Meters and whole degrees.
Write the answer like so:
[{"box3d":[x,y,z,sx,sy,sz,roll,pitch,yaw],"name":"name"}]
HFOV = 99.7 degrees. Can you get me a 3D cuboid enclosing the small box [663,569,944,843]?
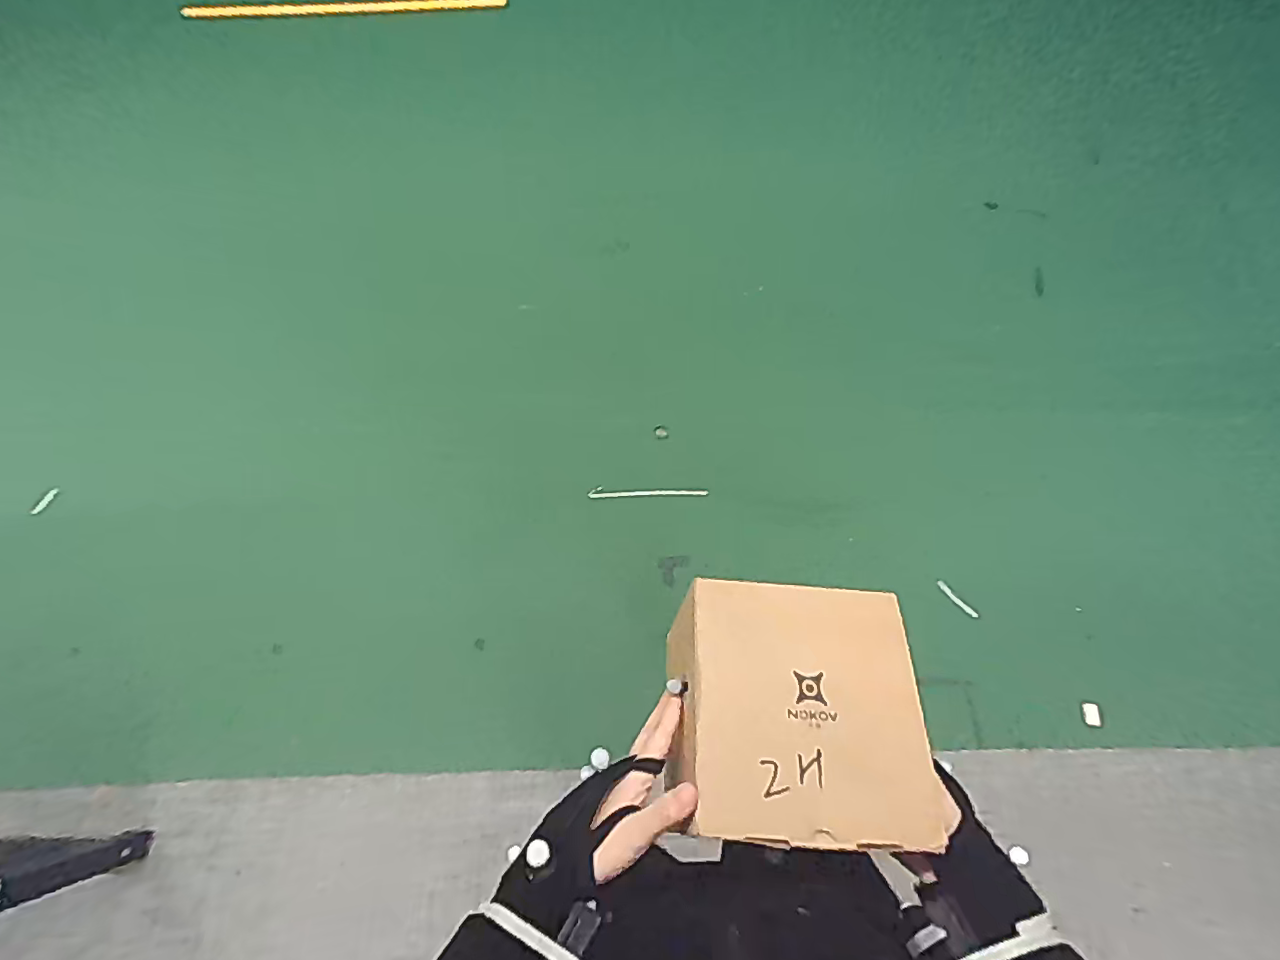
[{"box3d":[0.111,0.194,0.454,0.168,0.176,0.179,5,58,-3],"name":"small box"}]
